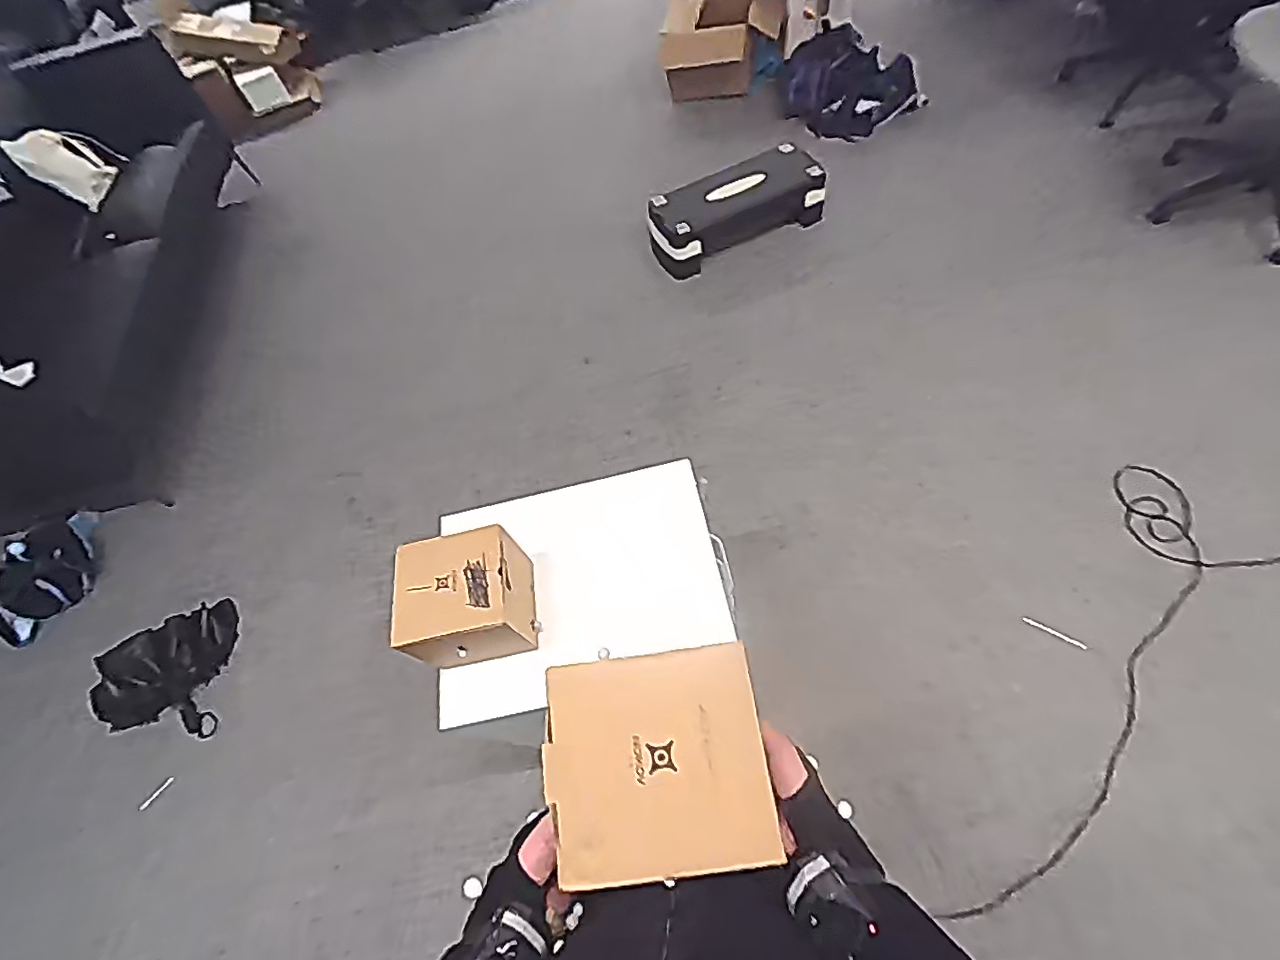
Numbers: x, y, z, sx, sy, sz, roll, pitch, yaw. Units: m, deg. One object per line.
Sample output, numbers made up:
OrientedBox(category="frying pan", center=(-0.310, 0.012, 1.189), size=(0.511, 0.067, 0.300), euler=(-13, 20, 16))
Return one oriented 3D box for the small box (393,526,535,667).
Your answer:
OrientedBox(category="small box", center=(-0.279, 0.198, 0.895), size=(0.179, 0.176, 0.168), euler=(-13, 59, 3))
